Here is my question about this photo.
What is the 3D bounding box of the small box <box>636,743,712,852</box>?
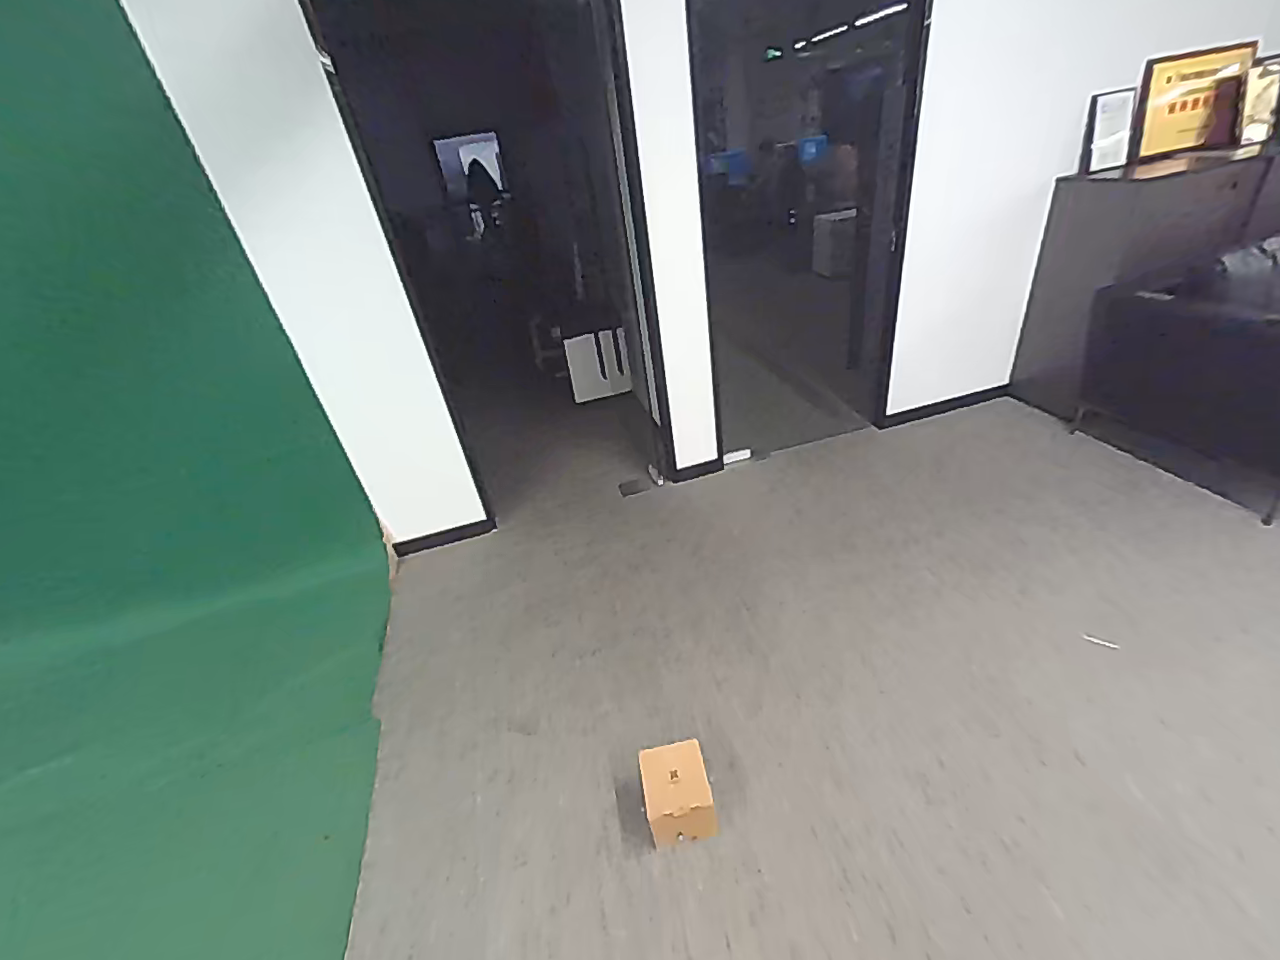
[{"bbox_3d":[0.088,0.832,1.419,0.168,0.176,0.179,-11,32,-4],"label":"small box"}]
